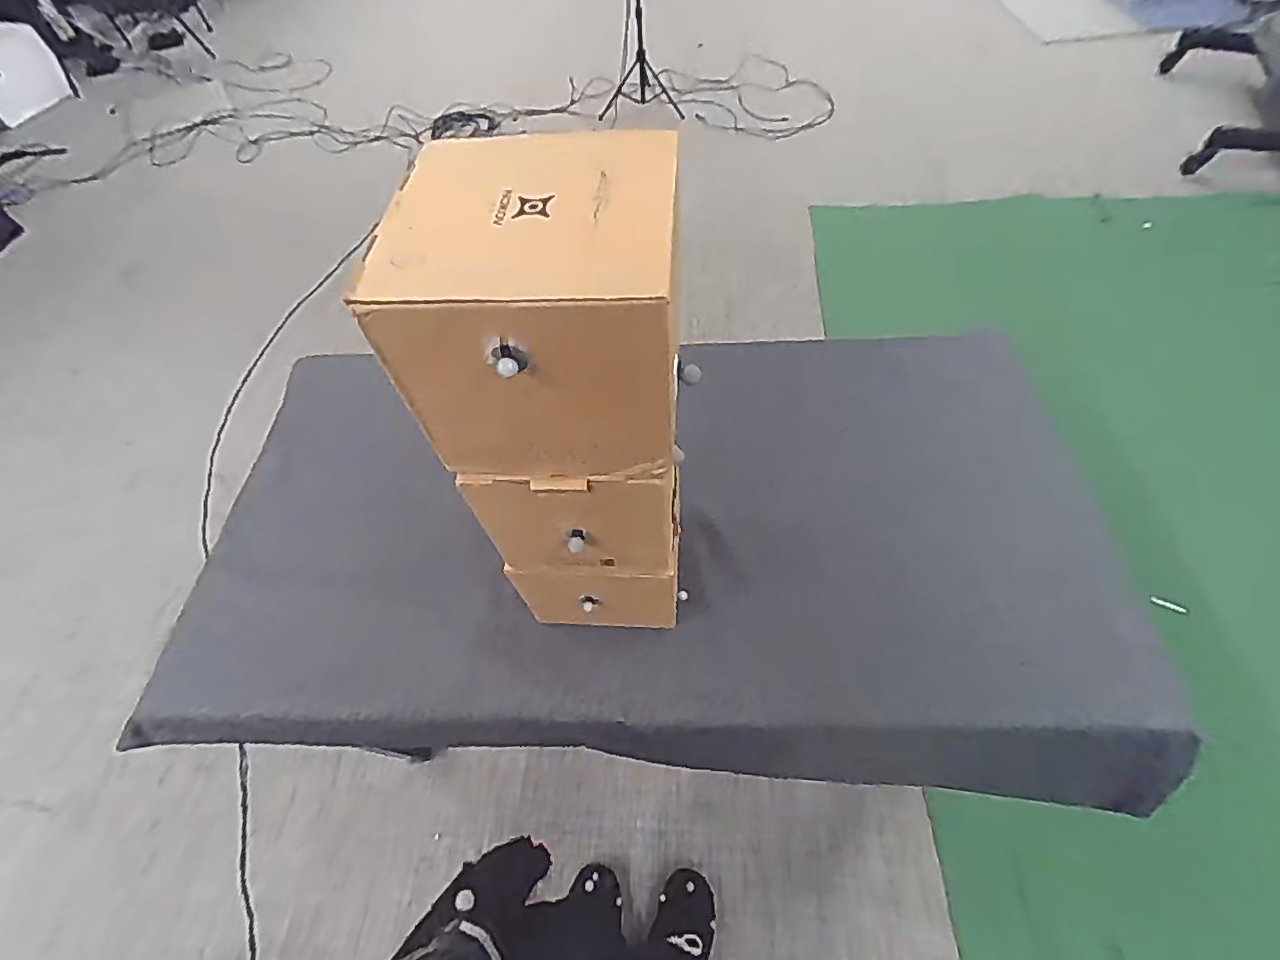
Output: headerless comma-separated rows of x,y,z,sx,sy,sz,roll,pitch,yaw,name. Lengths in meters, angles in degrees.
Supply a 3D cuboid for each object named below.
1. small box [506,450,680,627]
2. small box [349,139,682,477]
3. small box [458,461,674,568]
-0.042,0.072,0.656,0.179,0.176,0.168,1,57,6,small box
-0.060,-0.113,0.388,0.179,0.176,0.168,1,58,4,small box
-0.052,-0.024,0.524,0.168,0.176,0.179,0,58,4,small box
